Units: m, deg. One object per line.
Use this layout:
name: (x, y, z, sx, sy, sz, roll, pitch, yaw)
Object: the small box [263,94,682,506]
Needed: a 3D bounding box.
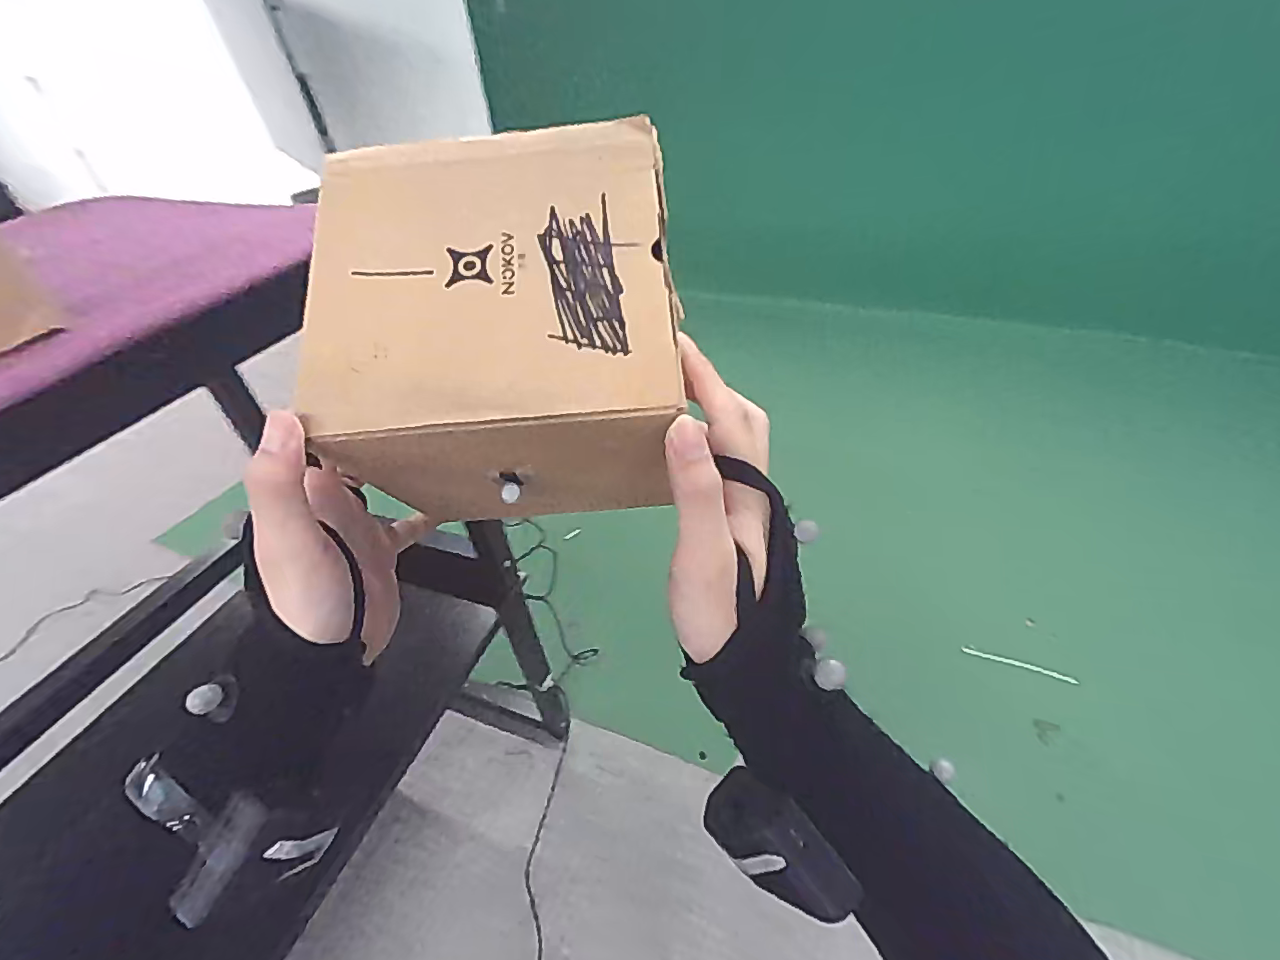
small box: (-0.070, -0.084, 0.320, 0.179, 0.176, 0.168, -3, 73, 2)
